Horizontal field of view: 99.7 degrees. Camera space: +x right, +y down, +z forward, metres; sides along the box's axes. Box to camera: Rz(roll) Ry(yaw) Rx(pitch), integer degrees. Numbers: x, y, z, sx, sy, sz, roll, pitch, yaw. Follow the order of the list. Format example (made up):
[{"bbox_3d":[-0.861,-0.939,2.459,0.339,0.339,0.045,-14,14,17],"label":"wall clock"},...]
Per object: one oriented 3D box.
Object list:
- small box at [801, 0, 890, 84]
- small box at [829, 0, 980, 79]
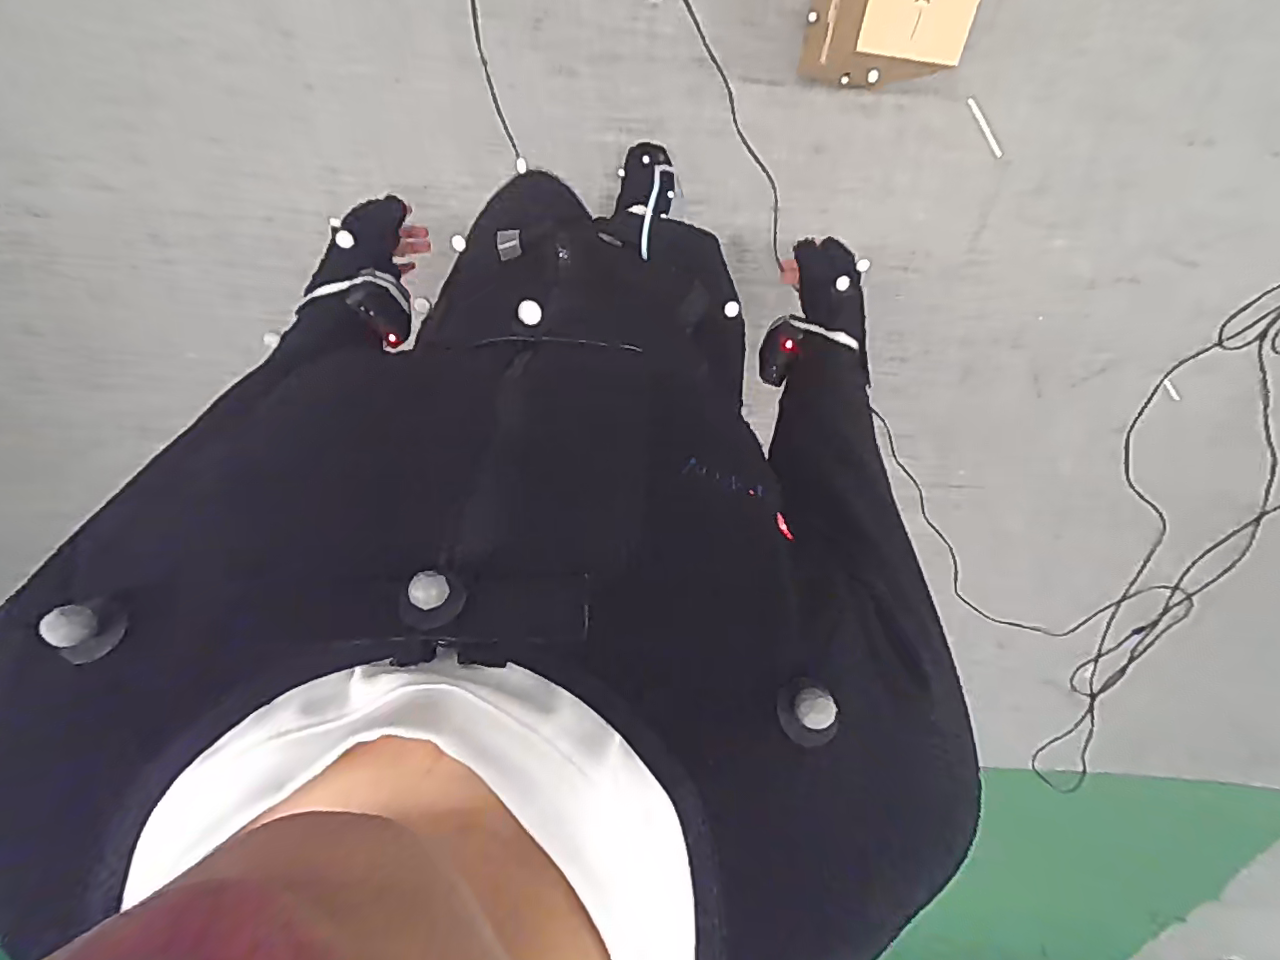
[{"bbox_3d":[0.416,-0.851,0.999,0.179,0.176,0.168,6,121,-4],"label":"small box"},{"bbox_3d":[0.421,-0.766,0.858,0.168,0.176,0.179,6,121,-3],"label":"small box"}]
